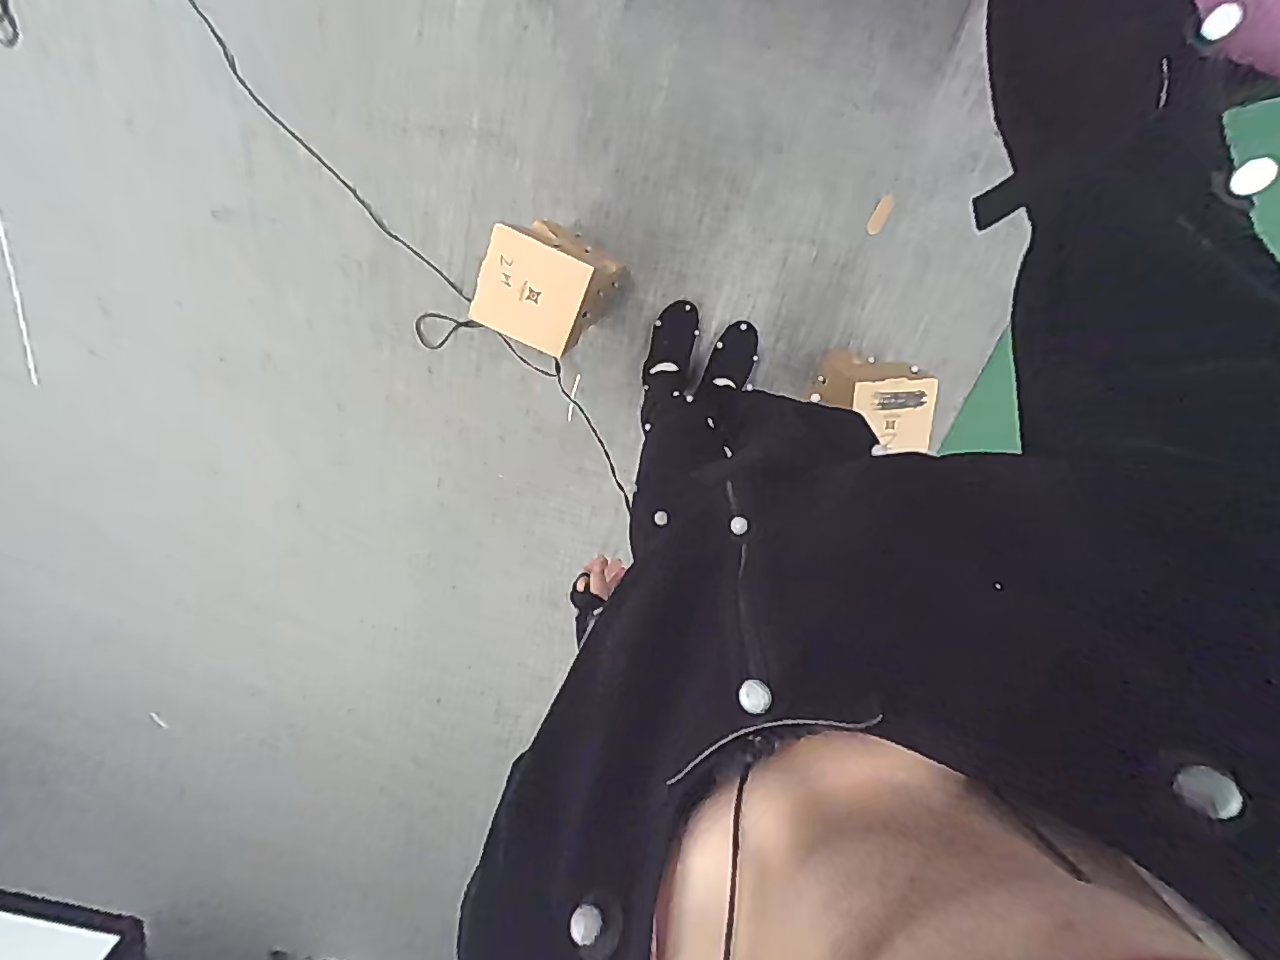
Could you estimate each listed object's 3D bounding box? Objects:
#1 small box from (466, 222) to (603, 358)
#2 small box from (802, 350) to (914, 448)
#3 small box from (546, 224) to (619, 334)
[{"bbox_3d":[-0.180,-0.343,0.972,0.179,0.176,0.168,24,111,-5],"label":"small box"},{"bbox_3d":[0.528,-0.208,1.341,0.179,0.176,0.168,25,113,-7],"label":"small box"},{"bbox_3d":[-0.159,-0.473,1.271,0.168,0.176,0.179,31,112,-9],"label":"small box"}]
